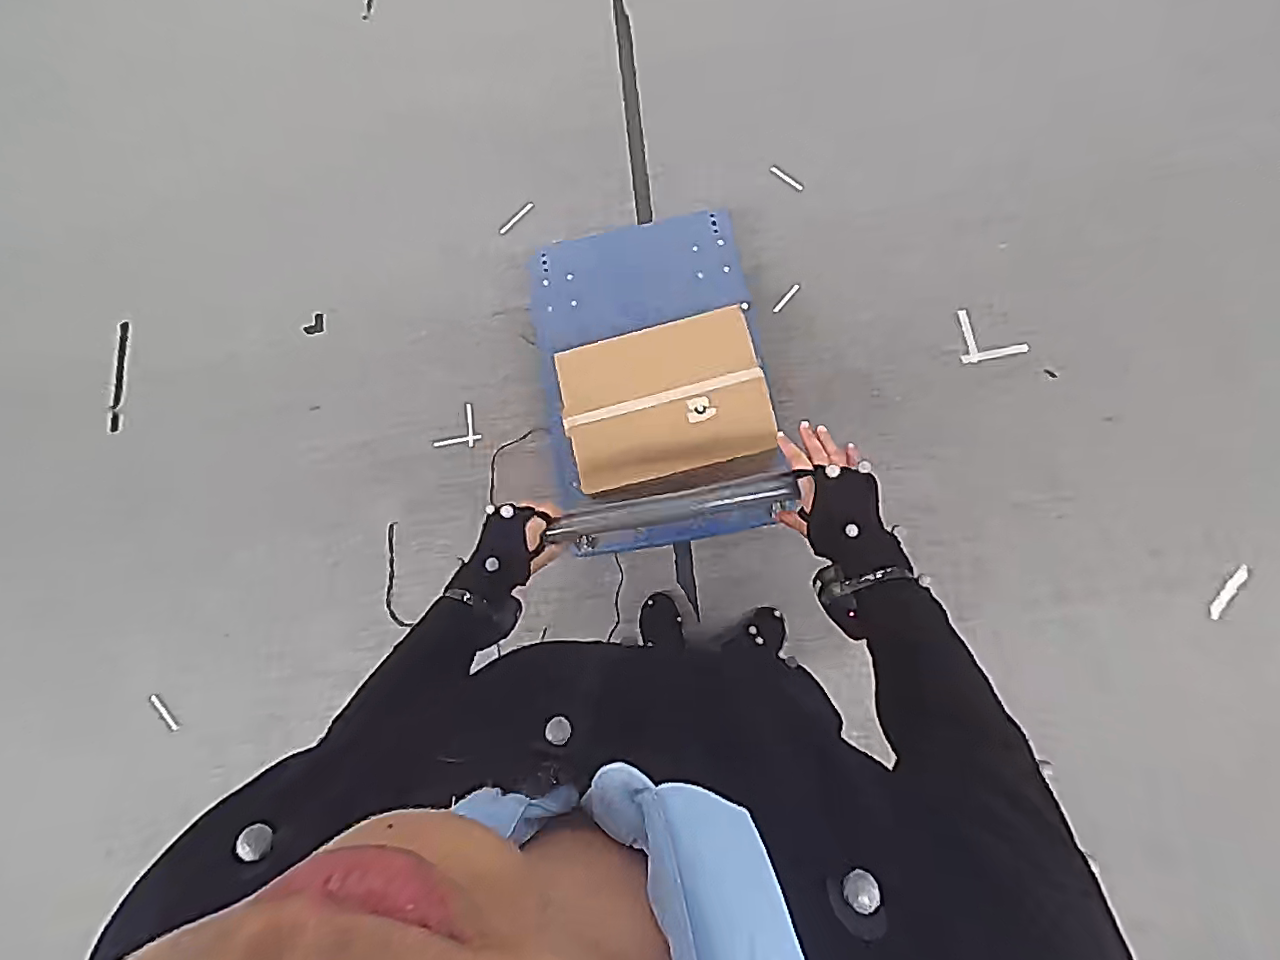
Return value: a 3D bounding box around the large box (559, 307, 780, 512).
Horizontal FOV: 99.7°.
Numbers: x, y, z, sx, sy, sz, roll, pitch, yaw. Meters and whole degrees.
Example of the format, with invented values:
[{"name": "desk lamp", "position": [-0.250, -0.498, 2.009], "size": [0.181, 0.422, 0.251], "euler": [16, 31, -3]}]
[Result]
[{"name": "large box", "position": [0.066, -0.138, 1.249], "size": [0.408, 0.320, 0.320], "euler": [-14, 79, 4]}]
